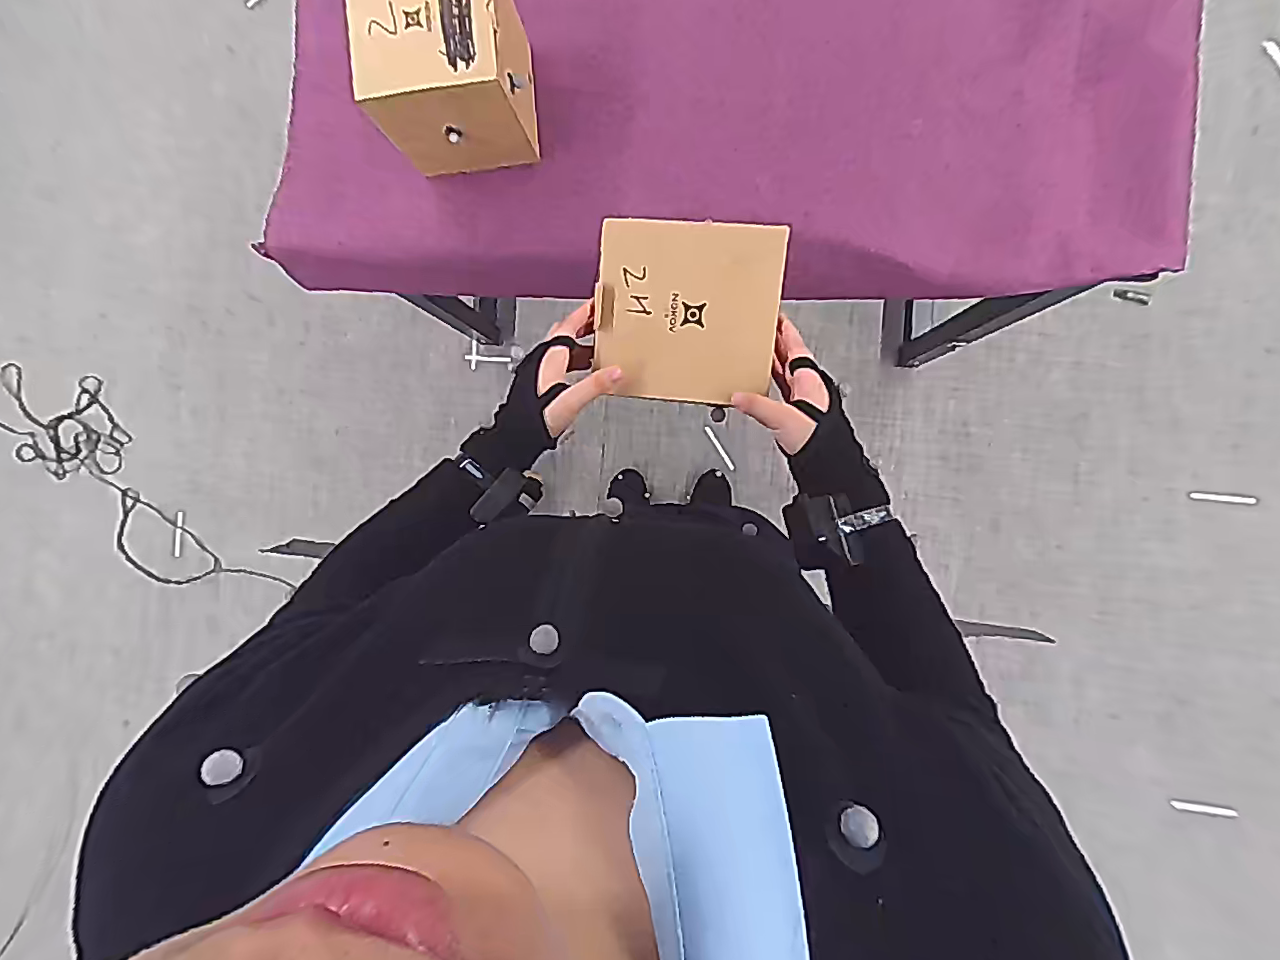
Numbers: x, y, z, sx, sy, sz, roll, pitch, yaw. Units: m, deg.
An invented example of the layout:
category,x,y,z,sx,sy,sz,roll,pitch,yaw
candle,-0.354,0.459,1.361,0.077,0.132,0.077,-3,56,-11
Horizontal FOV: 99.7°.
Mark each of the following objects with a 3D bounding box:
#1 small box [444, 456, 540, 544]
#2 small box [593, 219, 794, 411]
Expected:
category,x,y,z,sx,sy,sz,roll,pitch,yaw
small box,-0.388,0.049,1.455,0.168,0.176,0.179,27,93,3
small box,0.059,-0.166,0.589,0.179,0.176,0.168,7,97,9
